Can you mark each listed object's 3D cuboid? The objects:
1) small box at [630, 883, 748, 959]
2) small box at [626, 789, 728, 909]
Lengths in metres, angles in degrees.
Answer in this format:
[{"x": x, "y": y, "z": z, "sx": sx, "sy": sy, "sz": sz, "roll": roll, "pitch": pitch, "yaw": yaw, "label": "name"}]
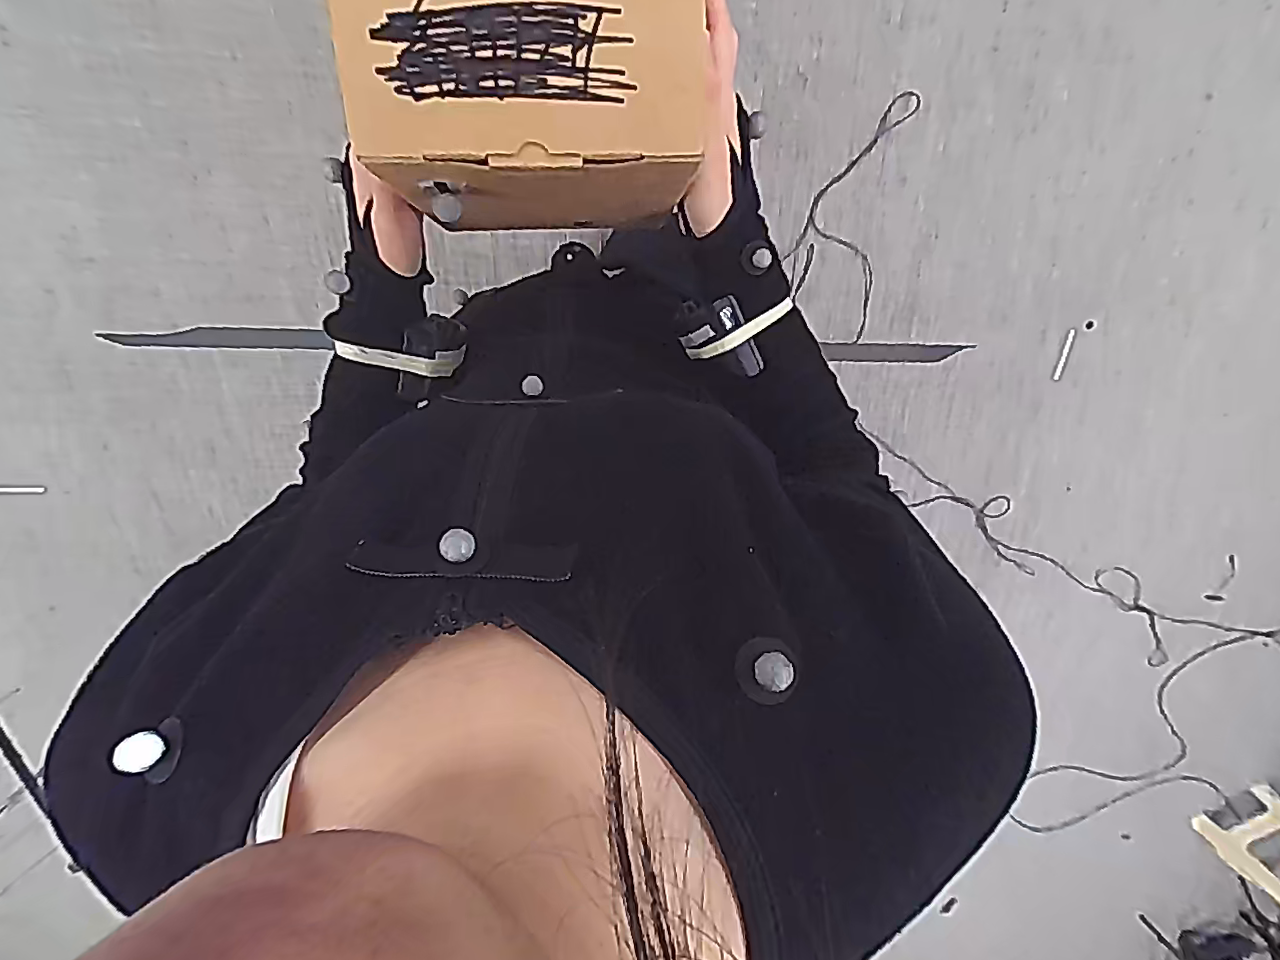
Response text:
[{"x": 0.075, "y": 0.777, "z": 0.855, "sx": 0.179, "sy": 0.176, "sz": 0.168, "roll": -4, "pitch": 117, "yaw": -3, "label": "small box"}, {"x": 0.062, "y": 0.708, "z": 1.001, "sx": 0.168, "sy": 0.176, "sz": 0.179, "roll": -3, "pitch": 115, "yaw": -4, "label": "small box"}]
